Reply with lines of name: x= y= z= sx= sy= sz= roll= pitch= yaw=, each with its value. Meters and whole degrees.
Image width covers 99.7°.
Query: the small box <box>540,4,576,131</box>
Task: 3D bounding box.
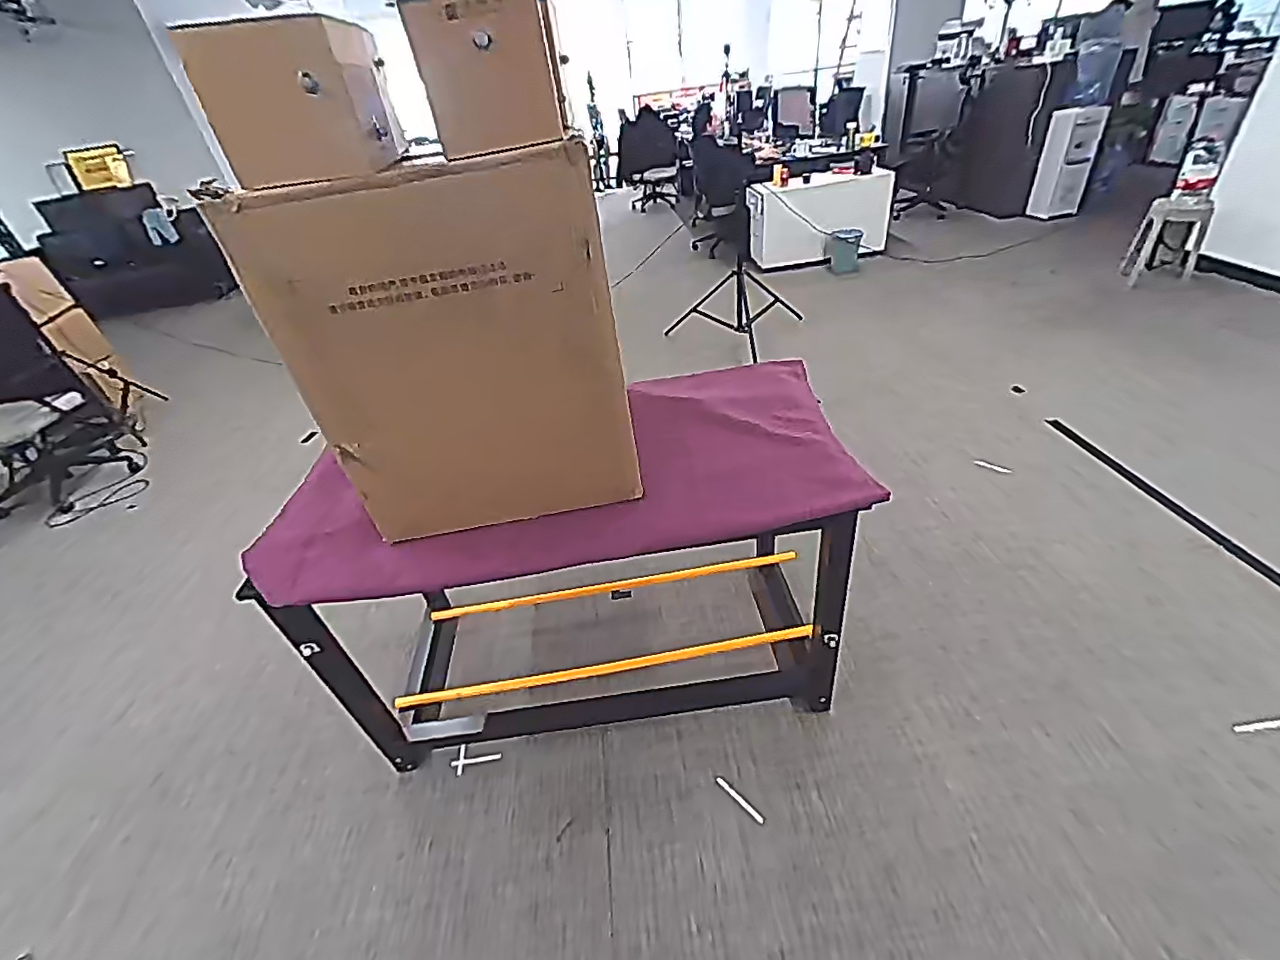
small box: x=-0.210 y=-0.678 z=0.918 sx=0.179 sy=0.176 sz=0.168 roll=-8 pitch=36 yaw=3

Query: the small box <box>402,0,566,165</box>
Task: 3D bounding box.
small box: x=-0.202 y=-0.551 z=0.744 sx=0.168 sy=0.176 sz=0.179 roll=-12 pitch=36 yaw=-2
